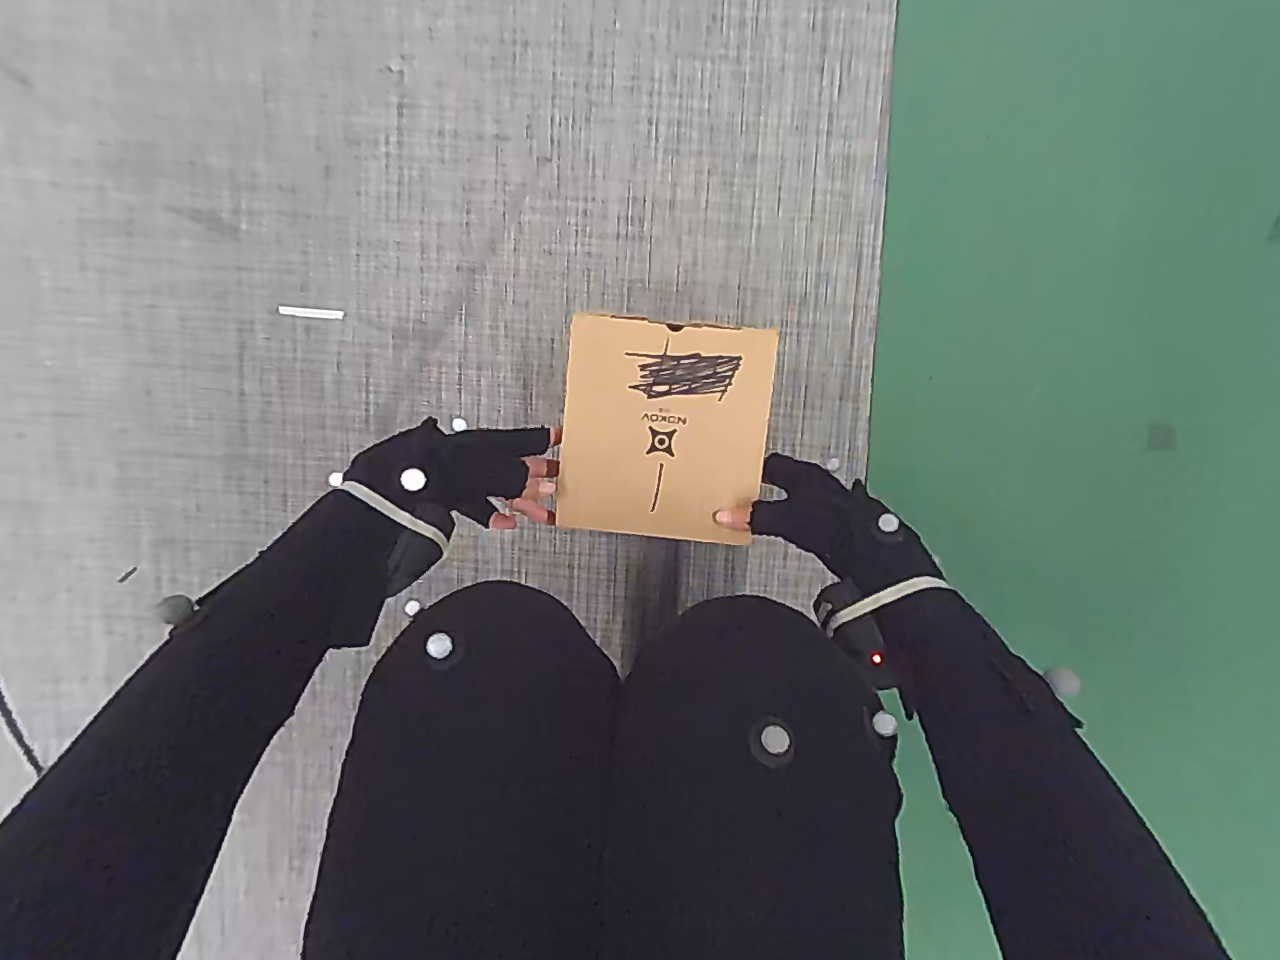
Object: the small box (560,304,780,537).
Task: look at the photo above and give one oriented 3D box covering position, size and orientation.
[{"bbox_3d":[0.025,-0.055,0.519,0.168,0.176,0.179,6,96,2],"label":"small box"}]
